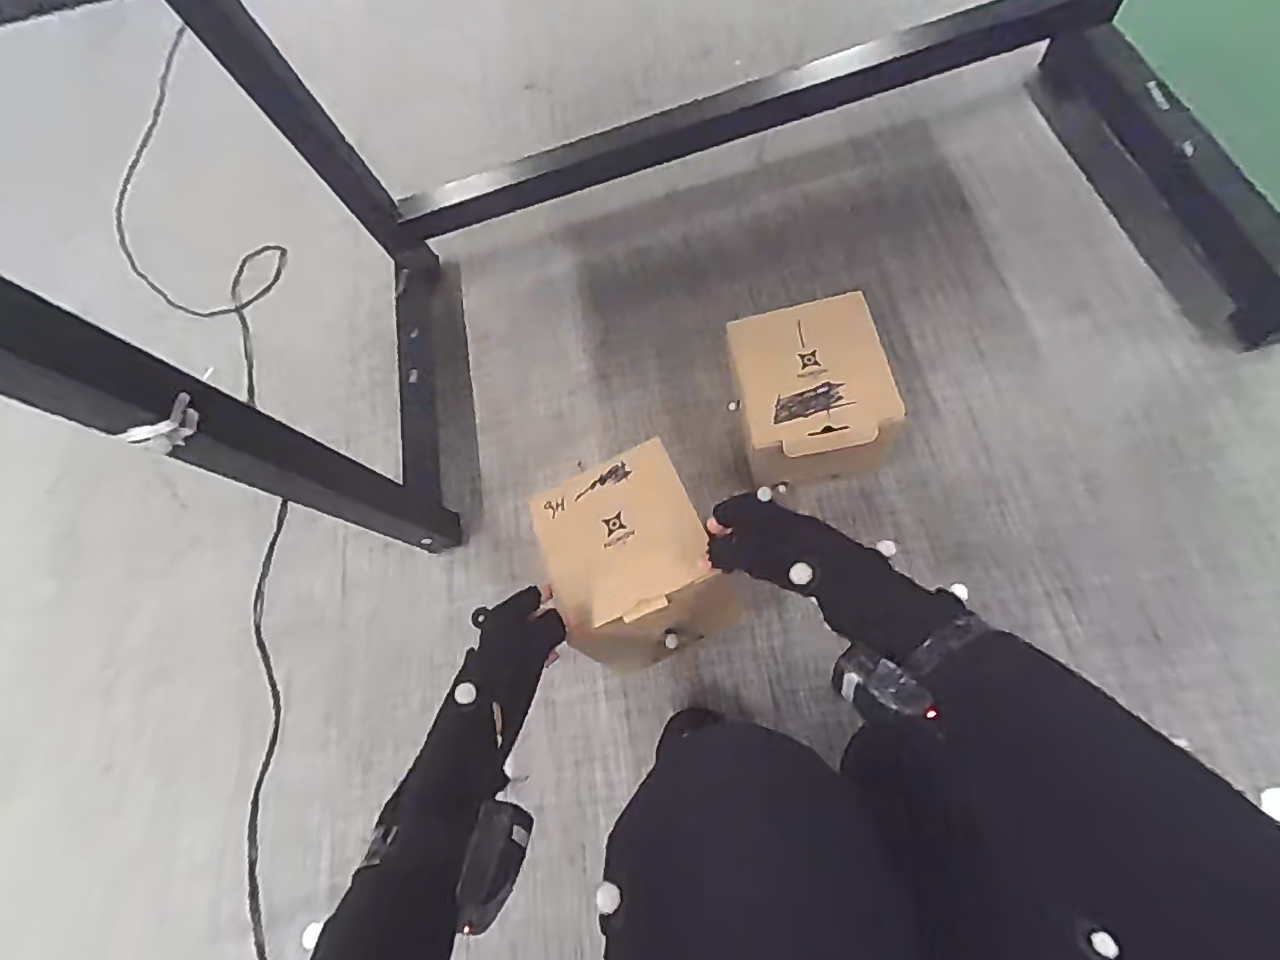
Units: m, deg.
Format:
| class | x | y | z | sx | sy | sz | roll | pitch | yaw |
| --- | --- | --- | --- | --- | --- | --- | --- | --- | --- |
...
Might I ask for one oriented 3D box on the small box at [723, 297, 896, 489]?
| class | x | y | z | sx | sy | sz | roll | pitch | yaw |
| --- | --- | --- | --- | --- | --- | --- | --- | --- | --- |
| small box | 0.209 | -0.097 | 0.700 | 0.168 | 0.176 | 0.179 | -11 | 67 | 9 |
